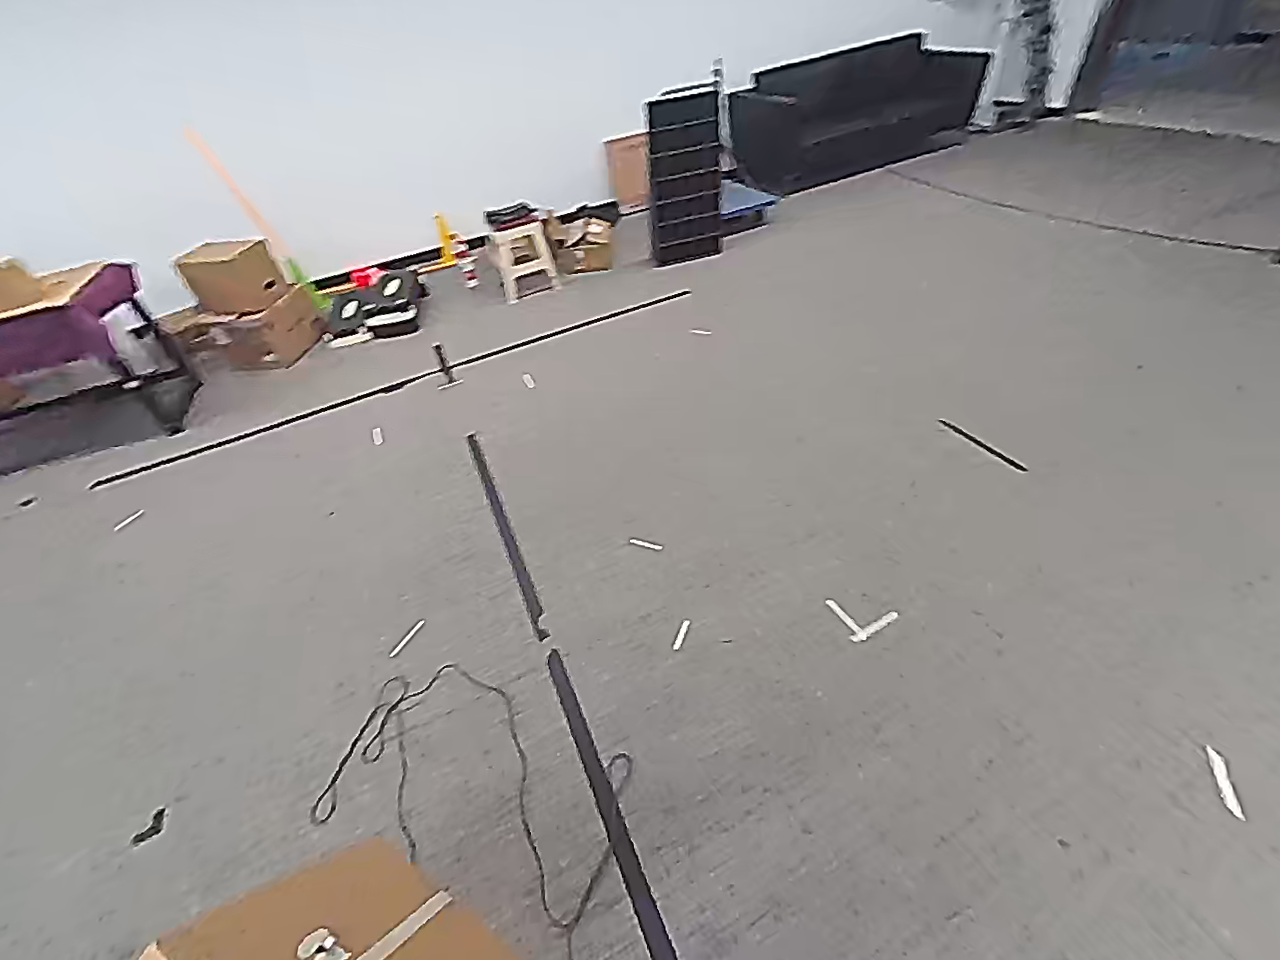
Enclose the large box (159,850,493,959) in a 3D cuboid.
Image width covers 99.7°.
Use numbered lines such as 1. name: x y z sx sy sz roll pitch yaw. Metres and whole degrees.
1. large box: -0.418 0.732 0.628 0.320 0.408 0.320 27 74 14
